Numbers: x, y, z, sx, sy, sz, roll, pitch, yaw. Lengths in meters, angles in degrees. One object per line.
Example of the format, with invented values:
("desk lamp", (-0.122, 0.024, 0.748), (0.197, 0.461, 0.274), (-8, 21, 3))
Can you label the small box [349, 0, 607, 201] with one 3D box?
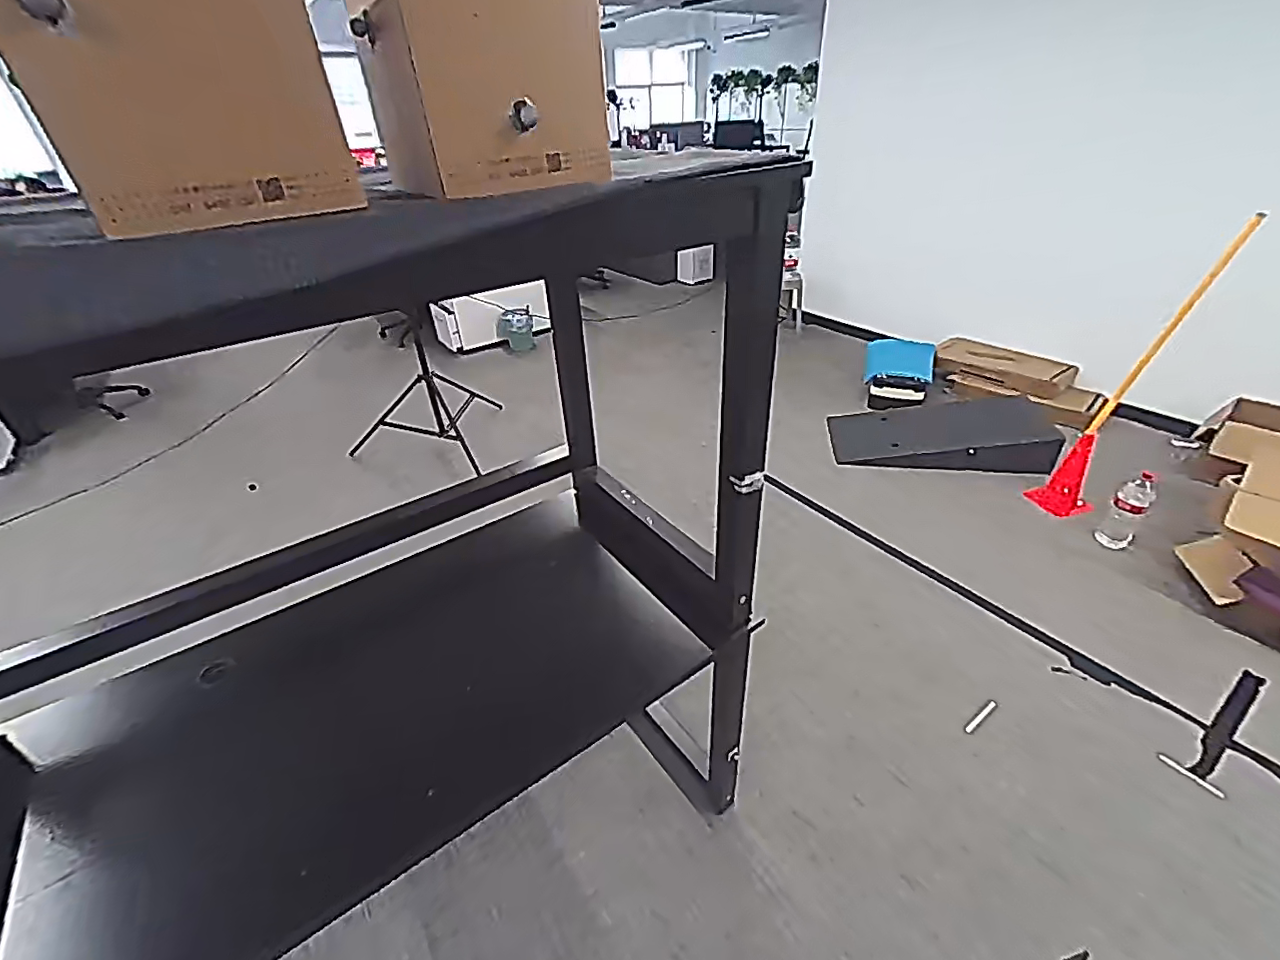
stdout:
("small box", (-0.146, -0.361, 0.498), (0.168, 0.176, 0.179), (-24, 39, -26))
